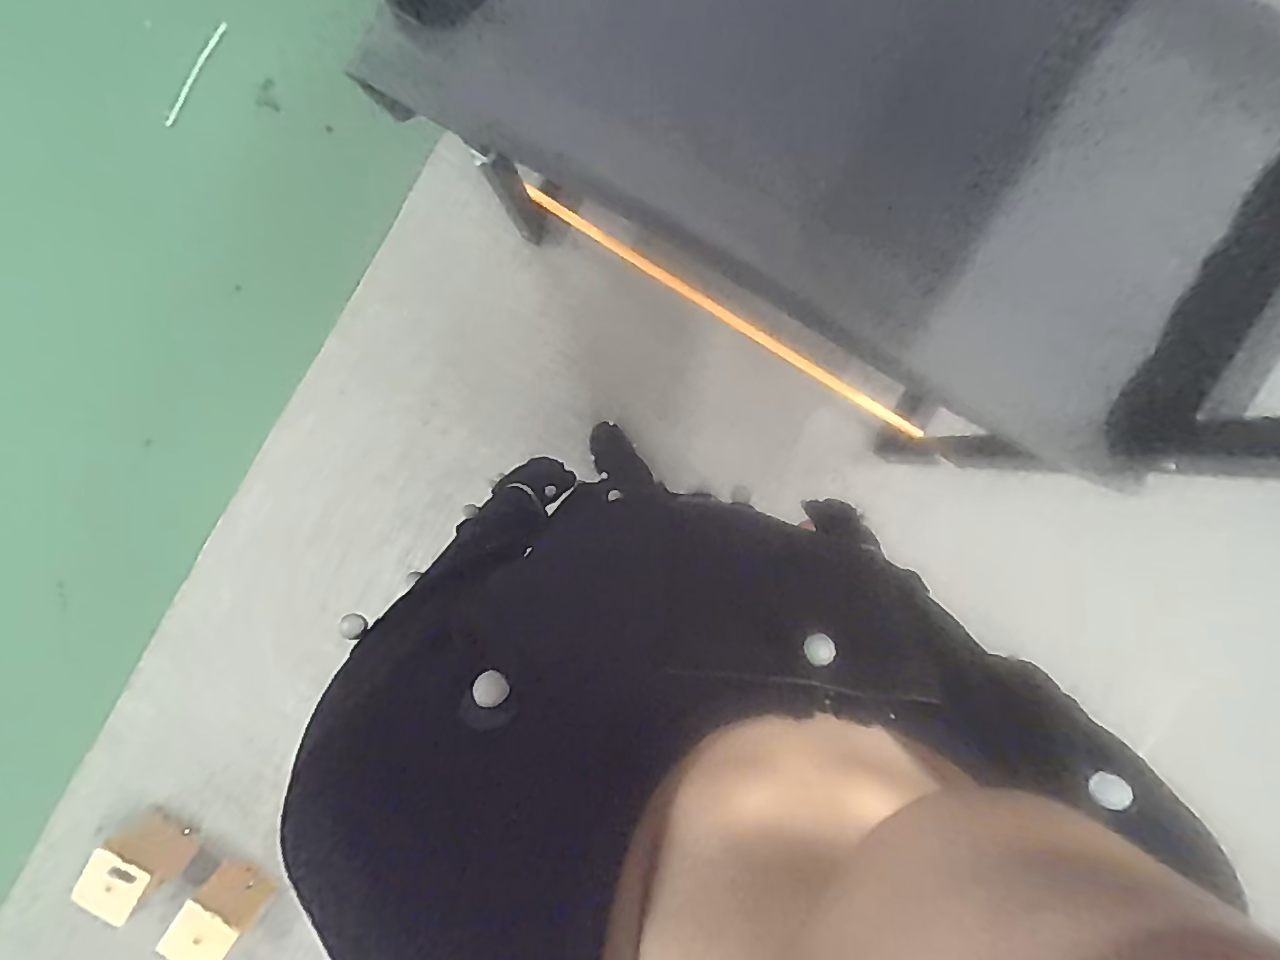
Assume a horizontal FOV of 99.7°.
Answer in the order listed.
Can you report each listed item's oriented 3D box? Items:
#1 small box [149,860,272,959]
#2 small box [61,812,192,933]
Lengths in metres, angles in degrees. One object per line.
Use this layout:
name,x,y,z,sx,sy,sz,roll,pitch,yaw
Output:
small box,-1.163,1.206,1.480,0.168,0.176,0.179,34,92,0
small box,-1.389,1.061,1.479,0.168,0.176,0.179,31,93,0
